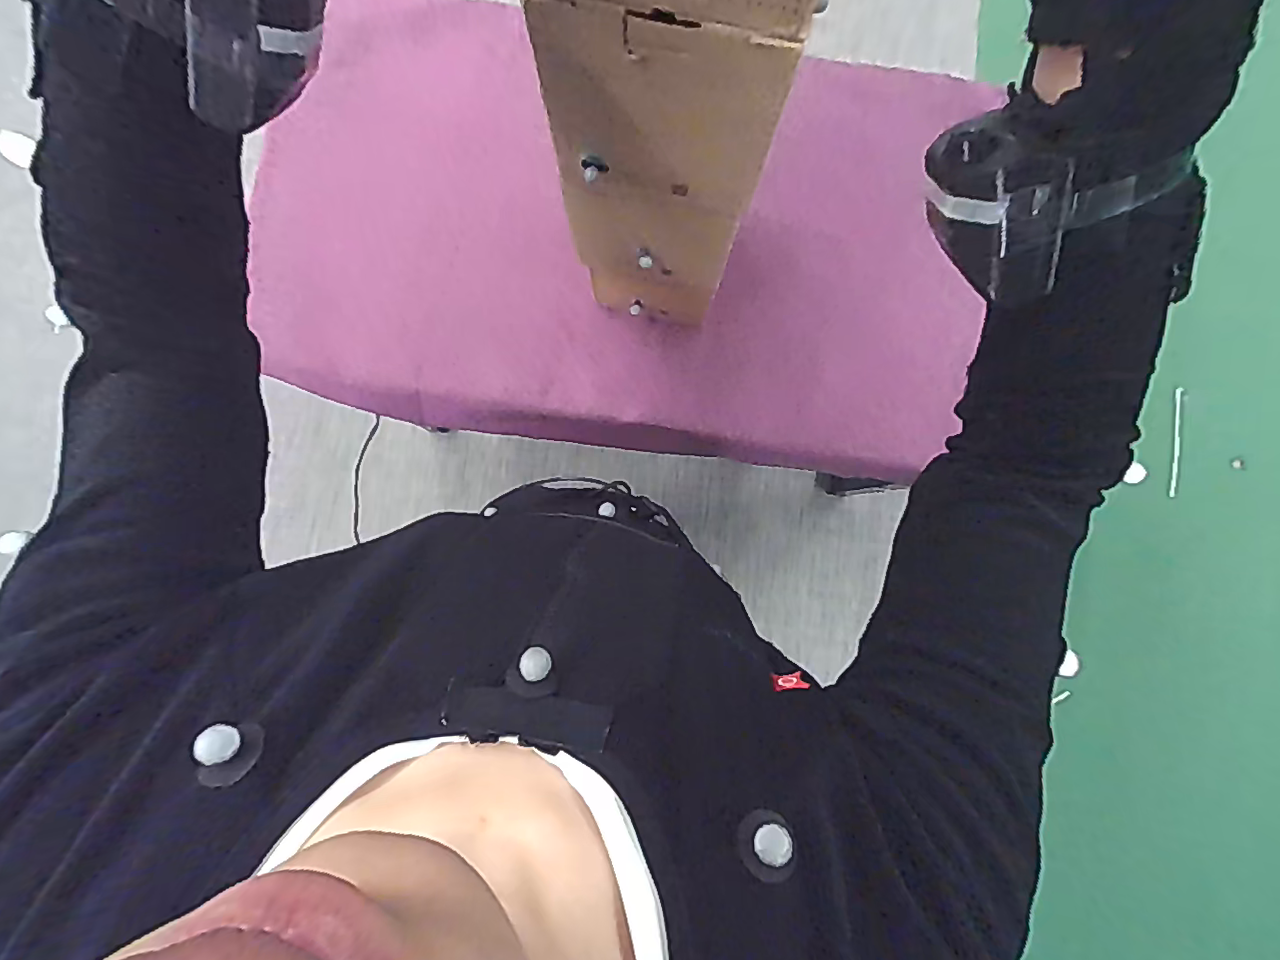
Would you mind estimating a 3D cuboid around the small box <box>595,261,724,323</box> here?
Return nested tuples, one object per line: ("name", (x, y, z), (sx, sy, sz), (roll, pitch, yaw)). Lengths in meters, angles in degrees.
("small box", (0.035, -0.335, 0.720), (0.168, 0.176, 0.179), (12, 86, 1))

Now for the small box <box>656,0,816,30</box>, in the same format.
("small box", (0.034, -0.357, 0.229), (0.168, 0.176, 0.179), (13, 84, 1))

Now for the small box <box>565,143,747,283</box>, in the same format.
("small box", (0.029, -0.333, 0.556), (0.168, 0.176, 0.179), (11, 85, 1))

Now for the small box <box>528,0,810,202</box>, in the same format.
("small box", (0.032, -0.337, 0.392), (0.168, 0.176, 0.179), (11, 84, 1))
